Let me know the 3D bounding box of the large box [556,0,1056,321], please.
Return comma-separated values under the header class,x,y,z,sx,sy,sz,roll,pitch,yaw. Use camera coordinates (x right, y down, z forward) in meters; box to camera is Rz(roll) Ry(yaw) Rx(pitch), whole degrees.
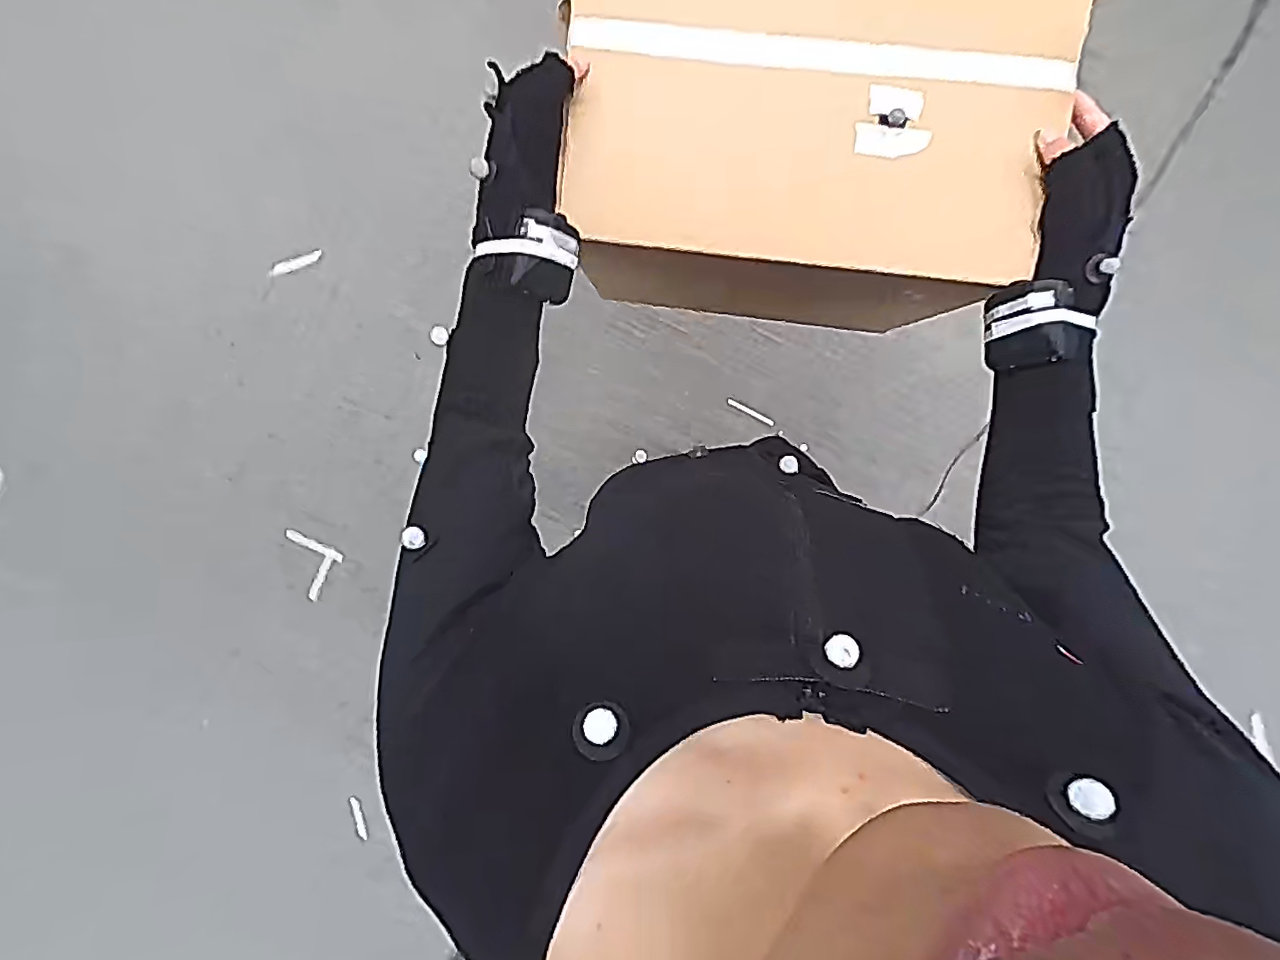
class,x,y,z,sx,sy,sz,roll,pitch,yaw
large box,0.138,-0.370,0.601,0.408,0.320,0.320,6,99,1
